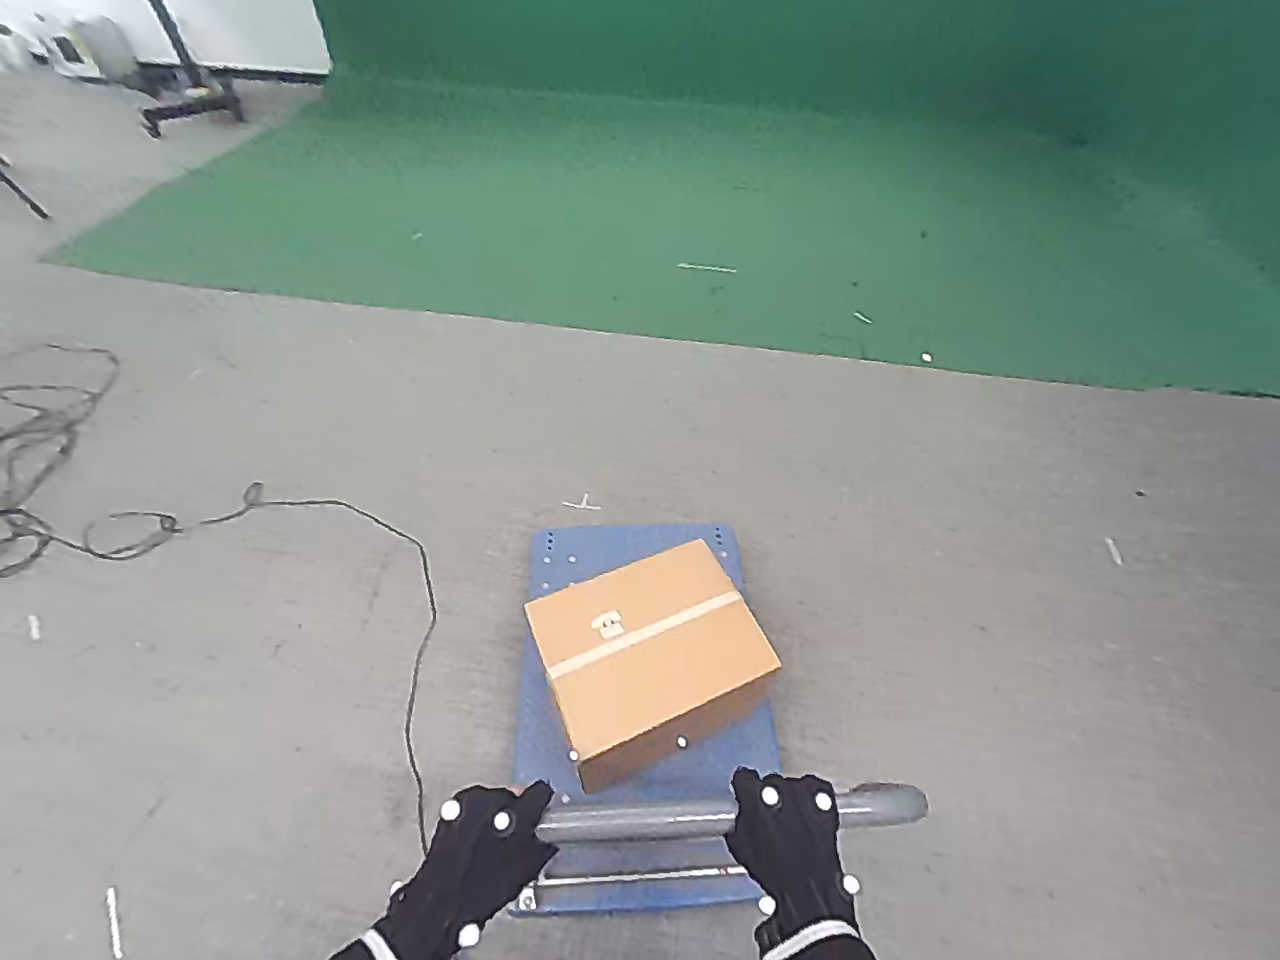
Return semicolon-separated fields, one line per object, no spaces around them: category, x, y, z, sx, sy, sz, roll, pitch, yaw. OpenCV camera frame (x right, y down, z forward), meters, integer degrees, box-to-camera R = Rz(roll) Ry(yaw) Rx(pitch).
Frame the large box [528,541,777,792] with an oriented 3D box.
large box;0.017;0.397;1.159;0.408;0.320;0.320;-19;53;-16
